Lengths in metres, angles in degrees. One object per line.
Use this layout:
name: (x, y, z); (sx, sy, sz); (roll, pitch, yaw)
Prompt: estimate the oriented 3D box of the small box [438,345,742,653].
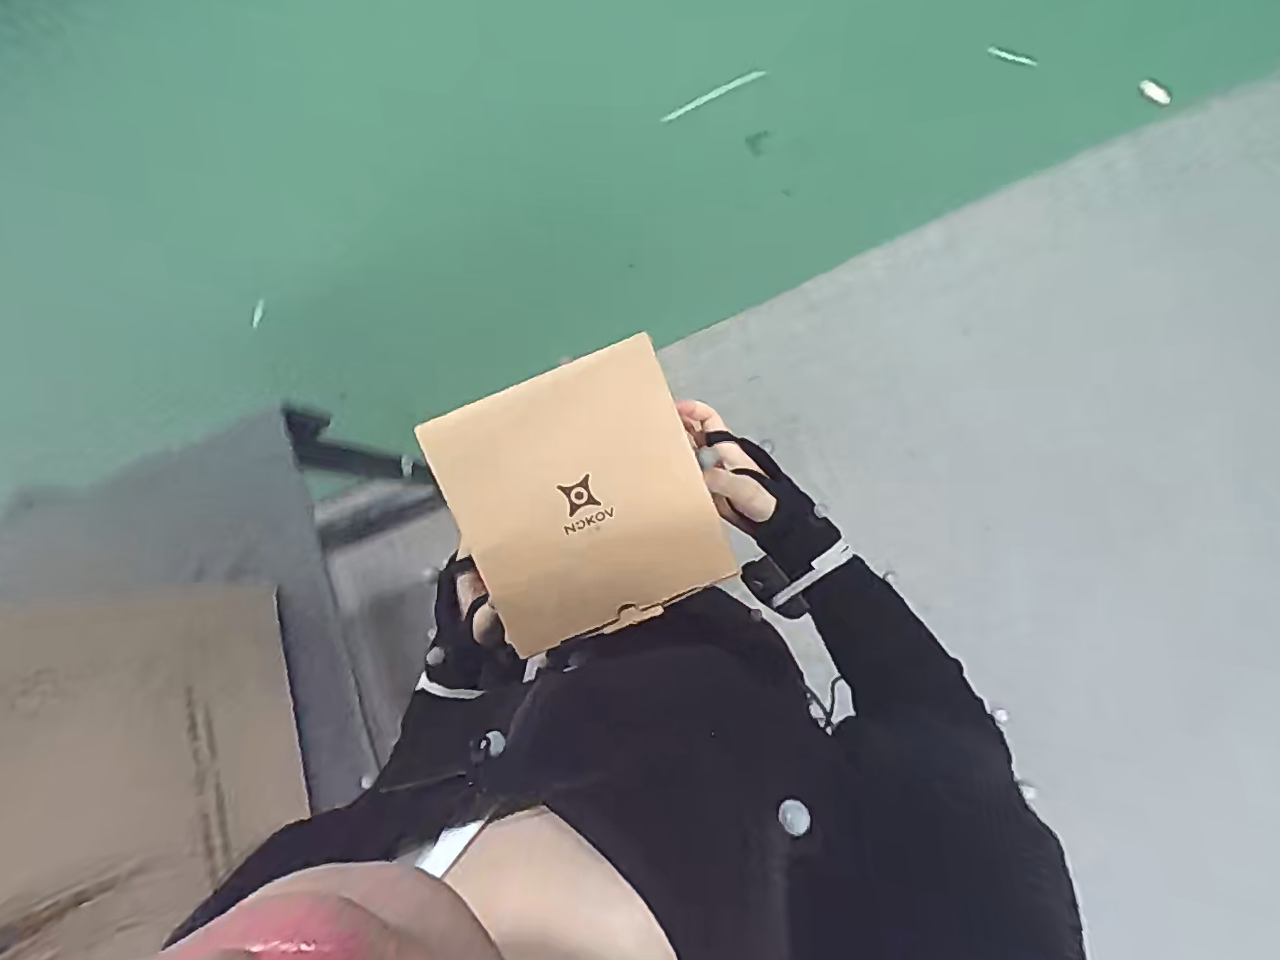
small box: (-0.035, 0.006, 0.449); (0.168, 0.176, 0.179); (-21, 99, 2)
